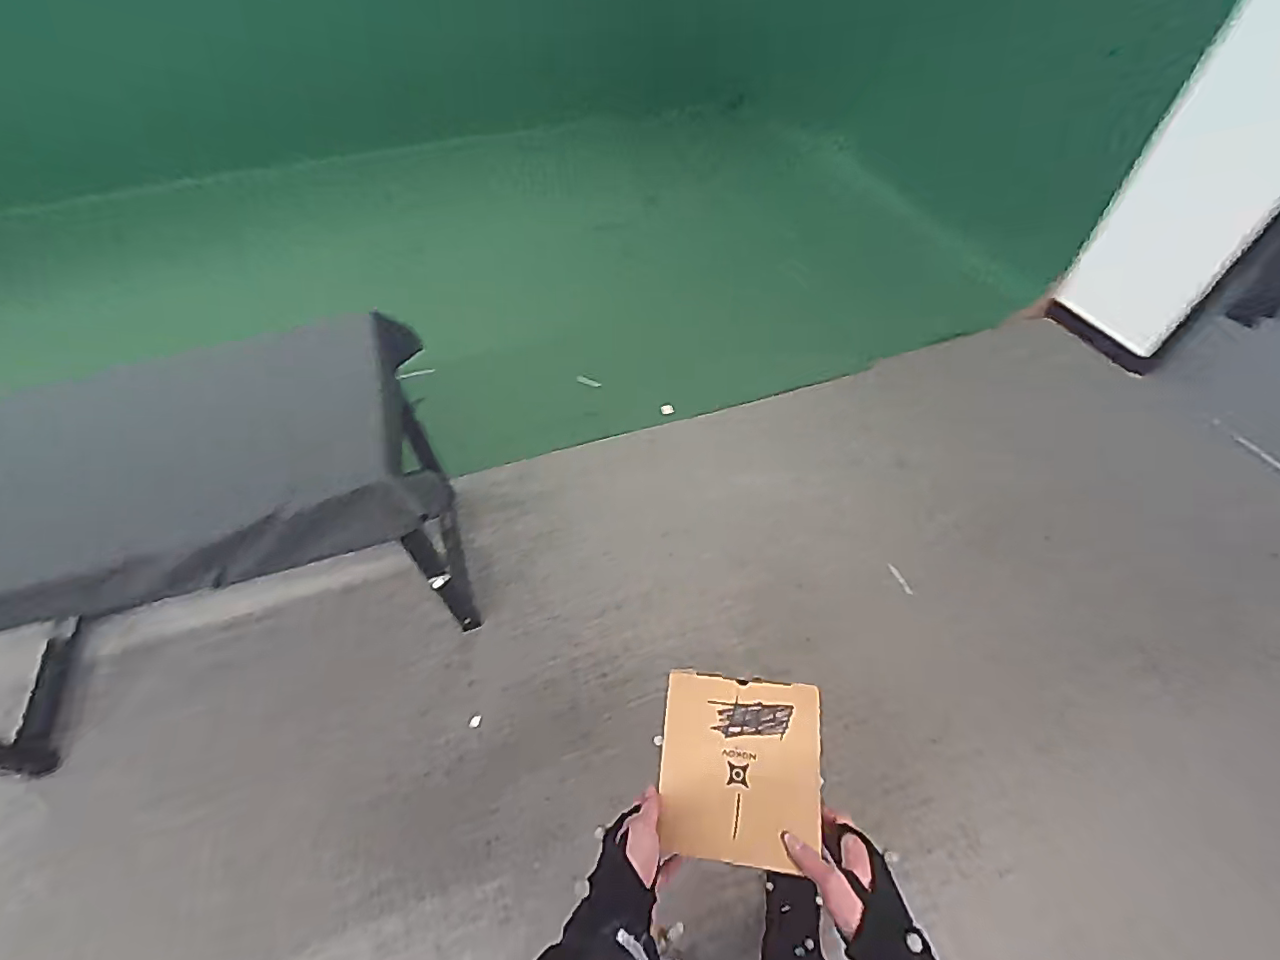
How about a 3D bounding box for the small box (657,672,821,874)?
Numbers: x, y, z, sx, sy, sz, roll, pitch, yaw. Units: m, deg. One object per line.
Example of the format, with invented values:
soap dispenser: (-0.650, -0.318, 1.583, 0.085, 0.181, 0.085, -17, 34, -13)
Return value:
small box: (0.113, 0.335, 0.644, 0.168, 0.176, 0.179, 2, 66, 8)
